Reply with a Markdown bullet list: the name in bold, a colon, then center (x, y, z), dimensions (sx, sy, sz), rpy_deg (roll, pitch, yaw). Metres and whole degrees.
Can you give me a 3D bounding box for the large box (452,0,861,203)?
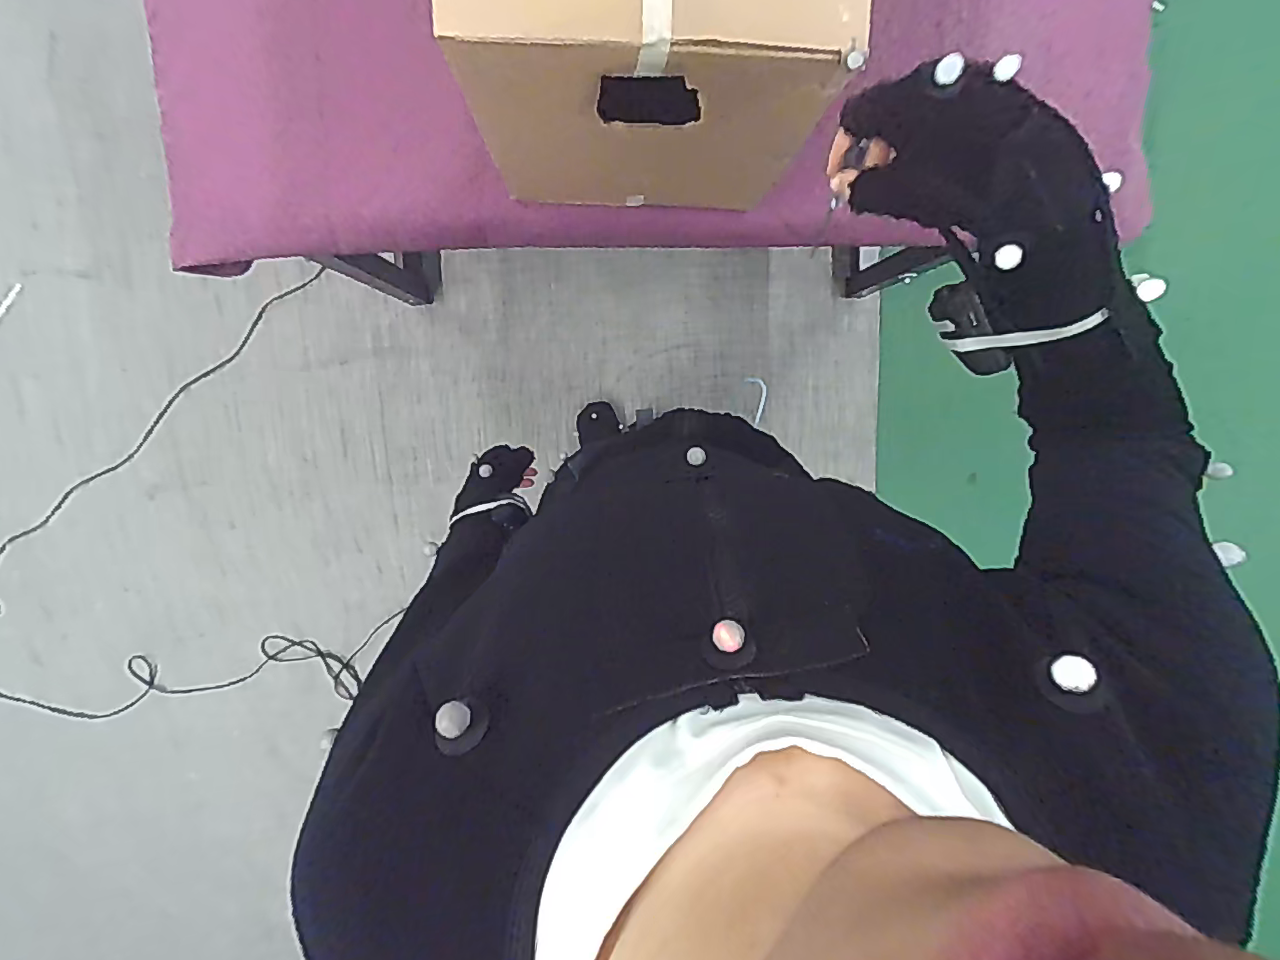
- **large box**: center (0.005, -0.536, 0.522), dimensions (0.320, 0.320, 0.408), rpy_deg (0, 99, -3)
